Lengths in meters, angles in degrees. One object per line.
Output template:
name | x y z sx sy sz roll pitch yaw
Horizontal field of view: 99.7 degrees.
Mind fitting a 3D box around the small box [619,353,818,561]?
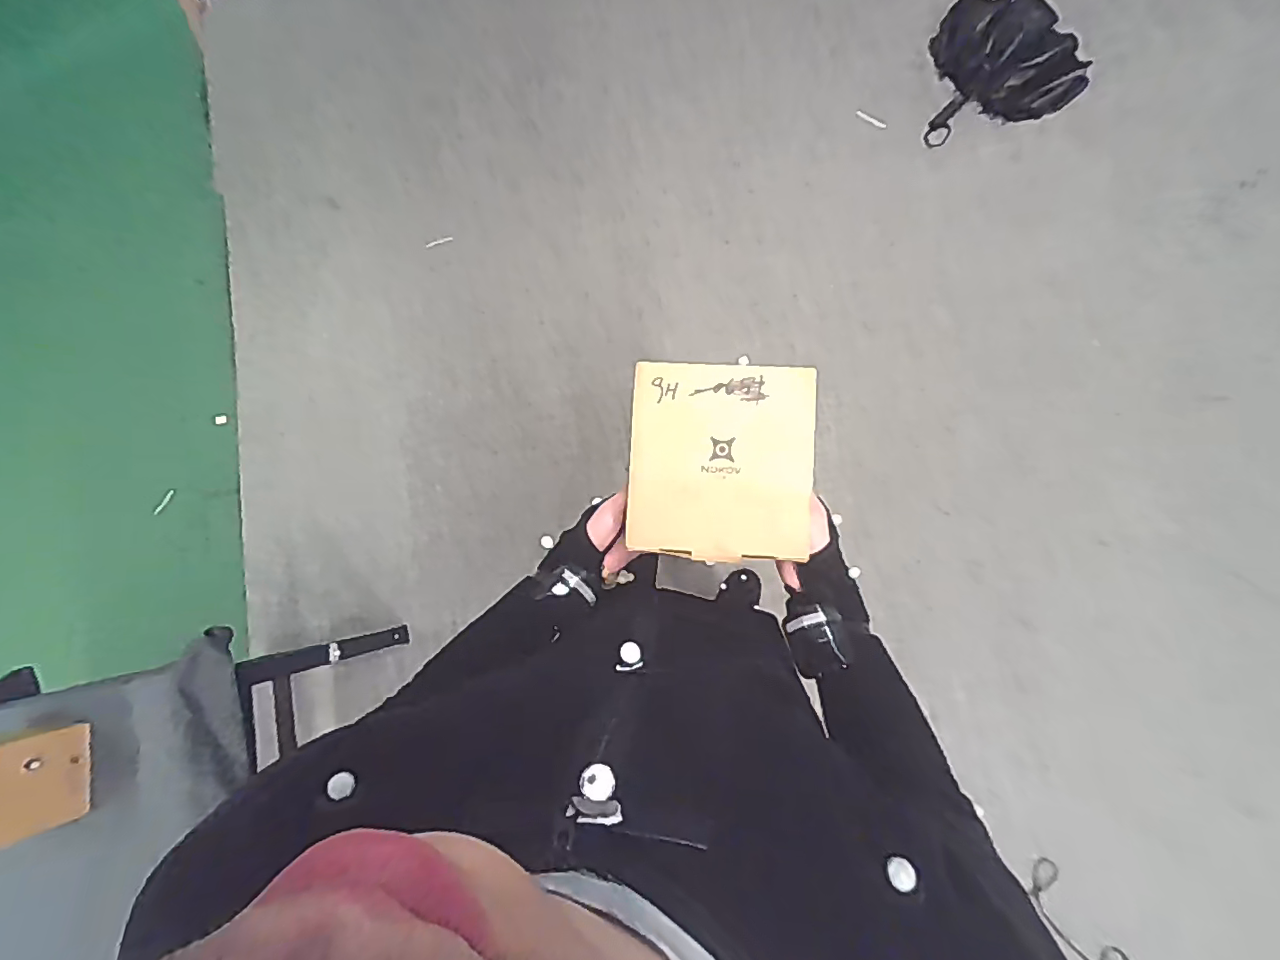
small box | 0.074 -0.018 0.557 0.168 0.176 0.179 4 87 3

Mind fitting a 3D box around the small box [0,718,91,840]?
small box | -1.144 0.538 0.968 0.179 0.176 0.168 -10 79 12
